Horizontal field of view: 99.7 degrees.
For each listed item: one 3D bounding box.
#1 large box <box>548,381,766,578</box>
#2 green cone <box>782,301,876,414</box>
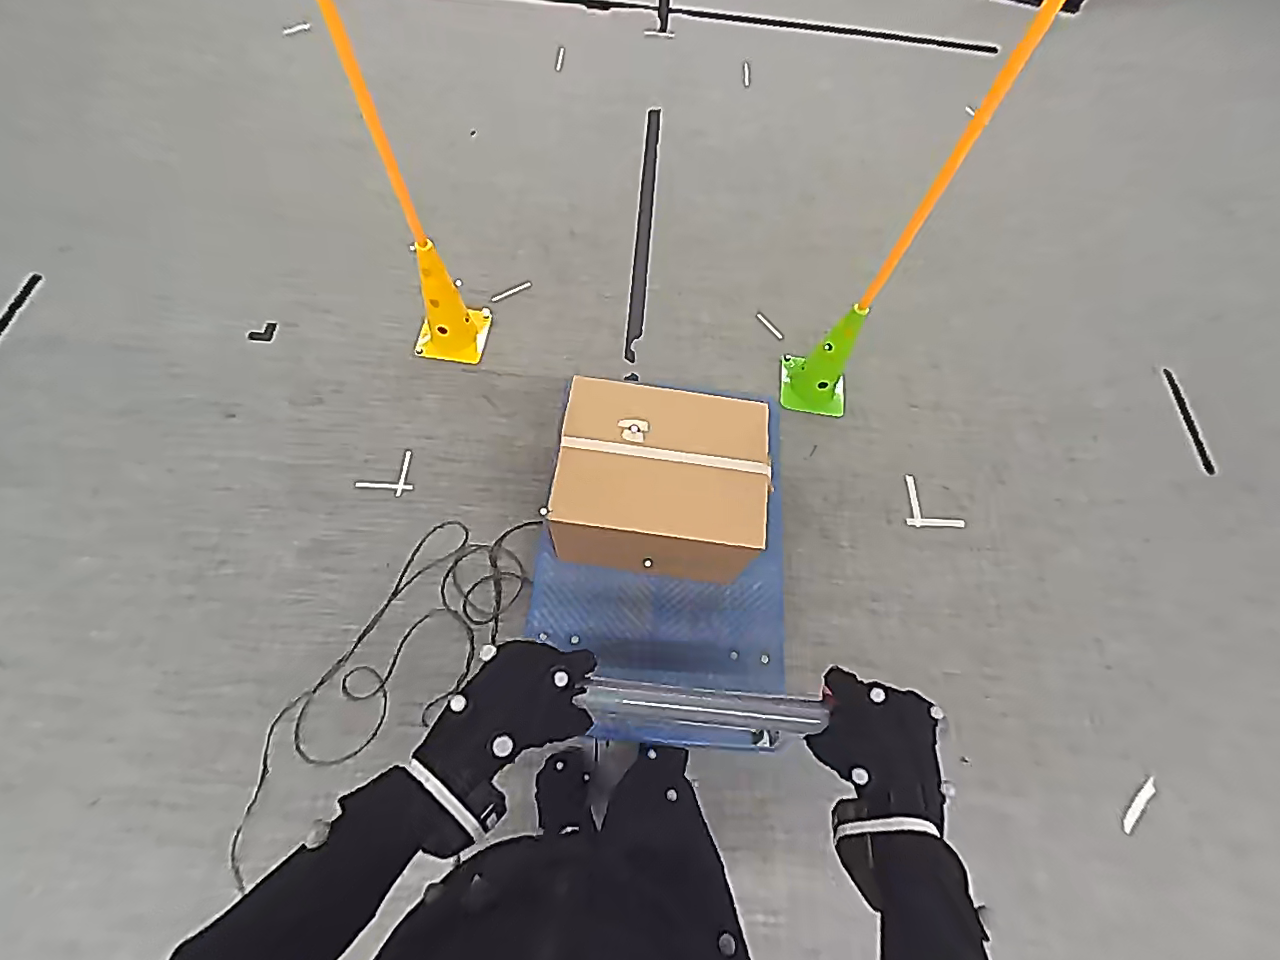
[{"bbox_3d":[0.038,0.016,1.185,0.408,0.320,0.320,8,67,0],"label":"large box"},{"bbox_3d":[0.566,-0.372,1.554,0.202,0.368,0.200,9,66,-2],"label":"green cone"}]
